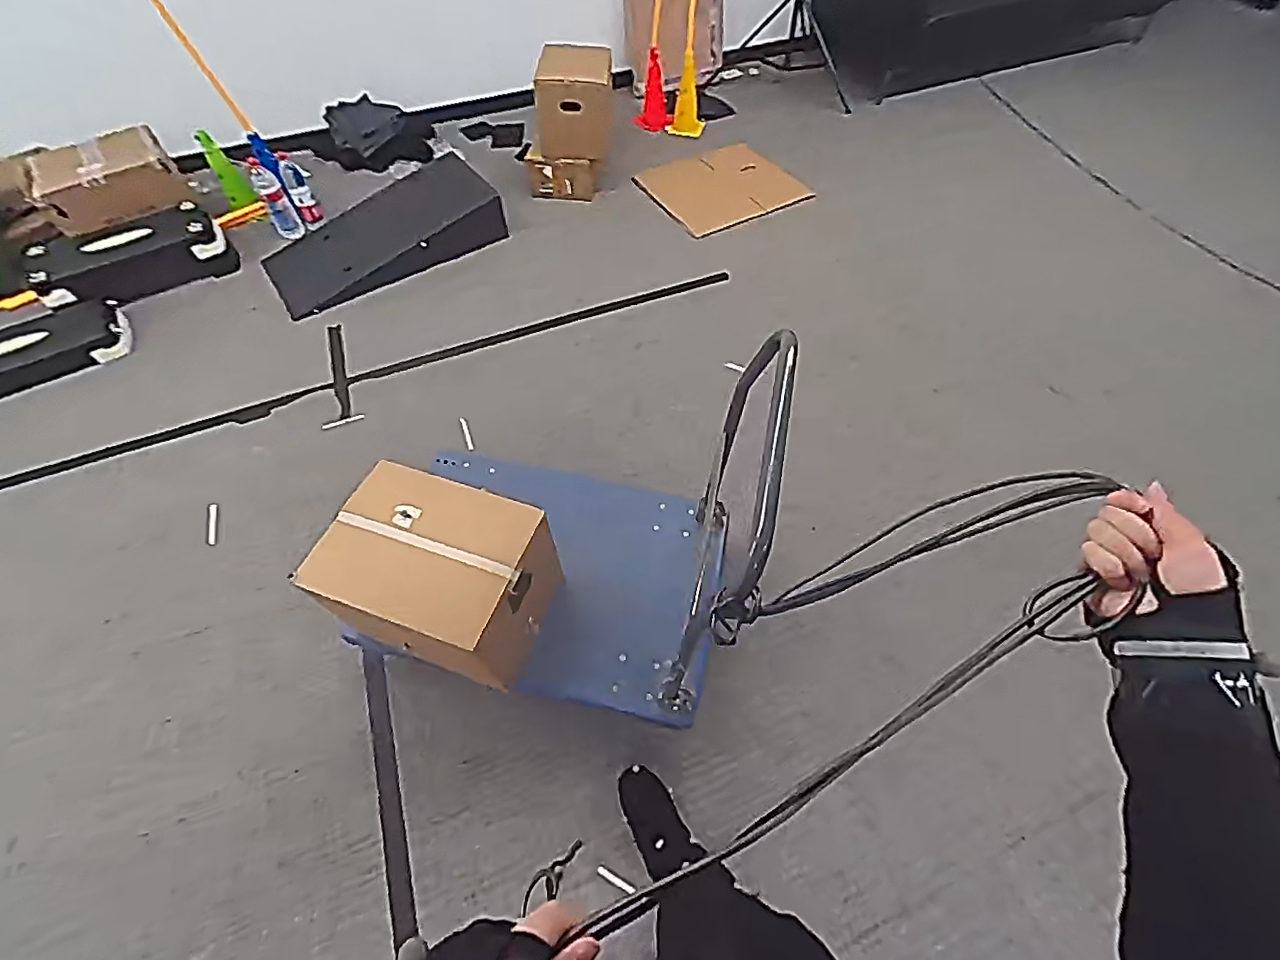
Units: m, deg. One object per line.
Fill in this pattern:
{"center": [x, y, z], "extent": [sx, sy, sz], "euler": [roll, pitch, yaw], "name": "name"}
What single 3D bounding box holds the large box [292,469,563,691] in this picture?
{"center": [-0.426, 0.226, 1.195], "extent": [0.408, 0.320, 0.320], "euler": [16, 57, 11], "name": "large box"}
